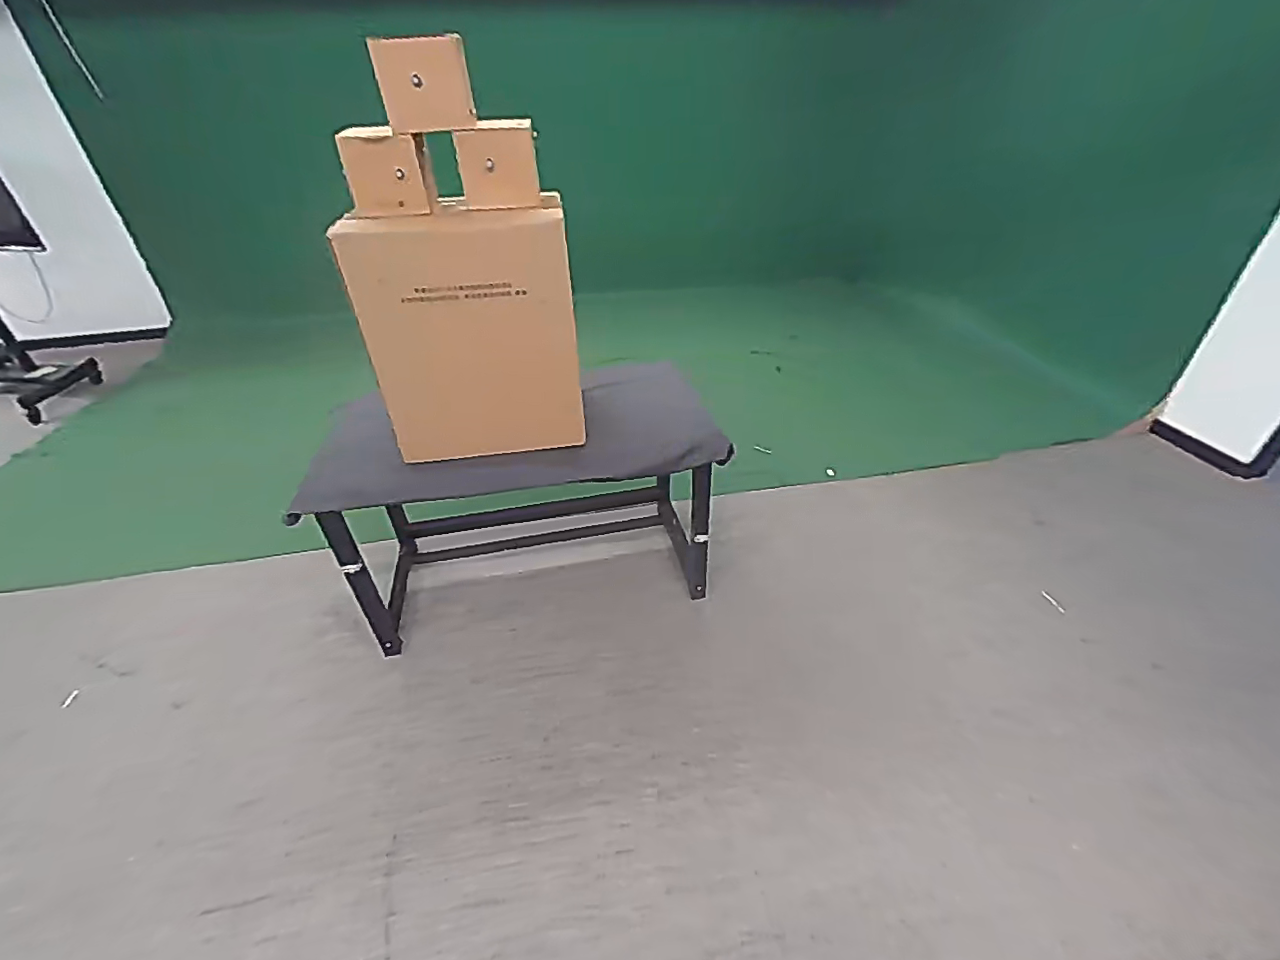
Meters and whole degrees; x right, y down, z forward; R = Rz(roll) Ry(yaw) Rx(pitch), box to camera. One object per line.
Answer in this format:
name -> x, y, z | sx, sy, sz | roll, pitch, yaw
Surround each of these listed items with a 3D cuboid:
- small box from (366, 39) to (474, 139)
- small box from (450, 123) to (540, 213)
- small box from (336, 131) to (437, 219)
small box -> -0.483, -0.883, 1.220 | 0.179, 0.176, 0.168 | -9, 39, -6
small box -> -0.349, -0.771, 1.337 | 0.179, 0.176, 0.168 | -7, 40, -5
small box -> -0.602, -0.738, 1.309 | 0.168, 0.176, 0.179 | -6, 38, -8
